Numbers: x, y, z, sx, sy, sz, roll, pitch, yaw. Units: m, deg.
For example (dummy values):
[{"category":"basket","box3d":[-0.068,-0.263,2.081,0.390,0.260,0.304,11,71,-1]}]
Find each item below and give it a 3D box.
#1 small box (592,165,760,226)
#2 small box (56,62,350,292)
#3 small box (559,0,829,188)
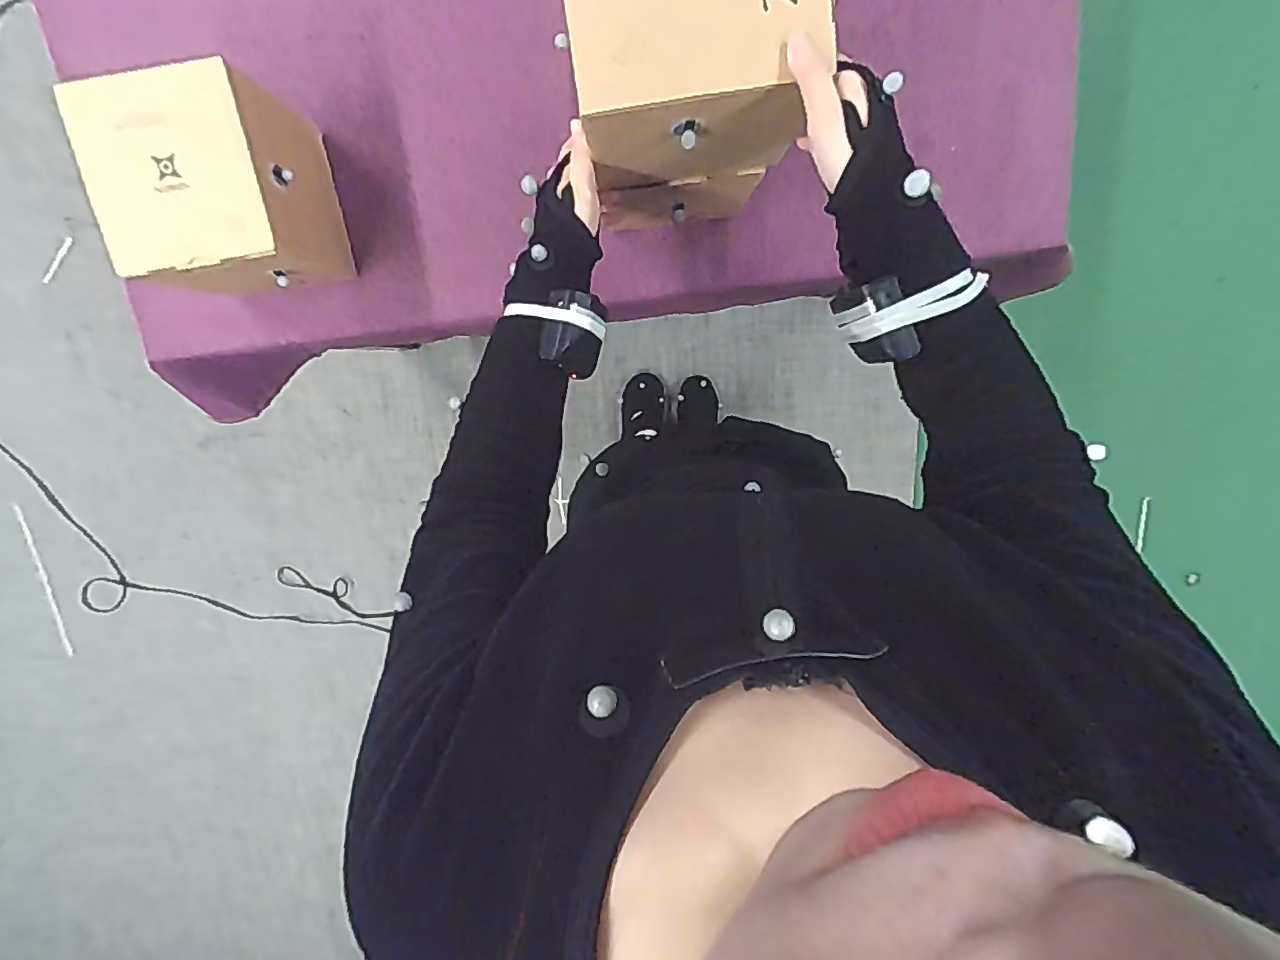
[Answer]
[{"category":"small box","box3d":[0.029,-0.387,0.587,0.168,0.176,0.179,-7,103,1]},{"category":"small box","box3d":[-0.455,-0.312,0.599,0.168,0.176,0.179,-8,102,0]},{"category":"small box","box3d":[0.033,-0.349,0.427,0.179,0.176,0.168,-7,103,1]}]
